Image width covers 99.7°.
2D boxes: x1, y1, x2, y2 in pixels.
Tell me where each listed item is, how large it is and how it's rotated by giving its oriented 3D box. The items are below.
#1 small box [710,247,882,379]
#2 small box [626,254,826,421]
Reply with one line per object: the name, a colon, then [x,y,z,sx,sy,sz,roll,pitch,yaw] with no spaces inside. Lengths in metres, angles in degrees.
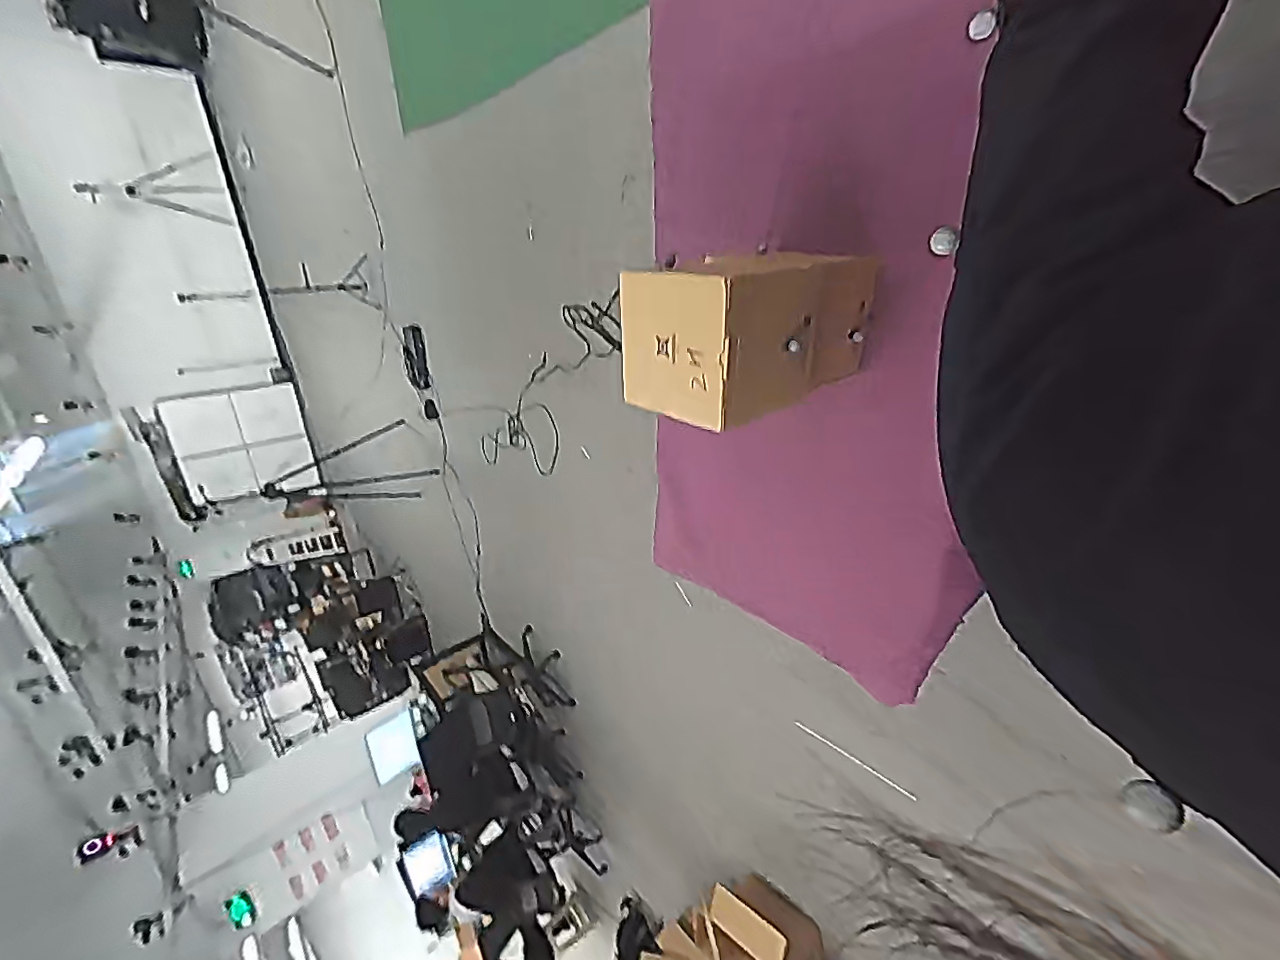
small box: [0.214,-0.243,0.781,0.179,0.176,0.168,27,127,42]
small box: [0.101,-0.188,0.675,0.179,0.176,0.168,25,126,43]
